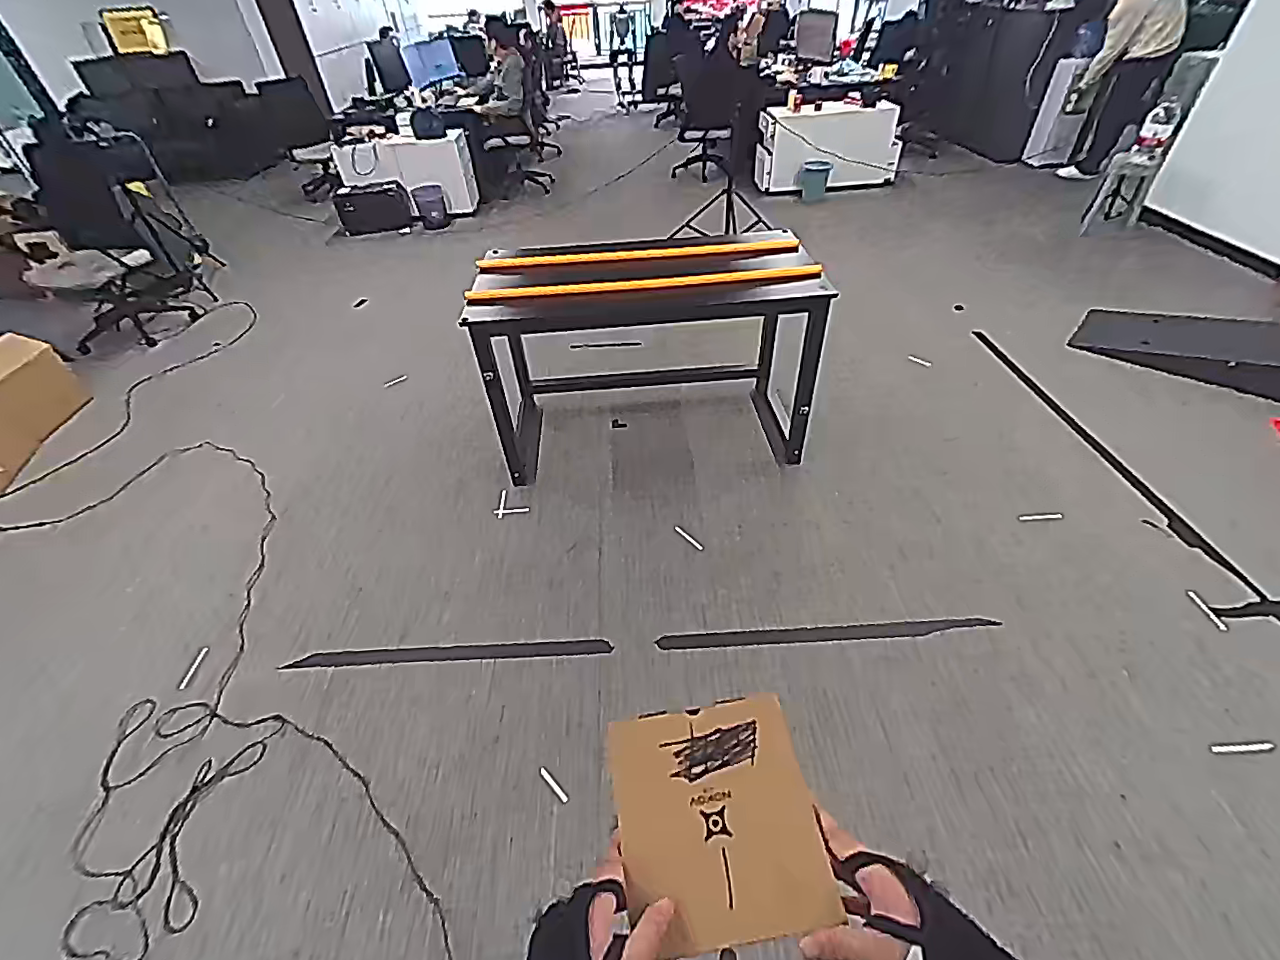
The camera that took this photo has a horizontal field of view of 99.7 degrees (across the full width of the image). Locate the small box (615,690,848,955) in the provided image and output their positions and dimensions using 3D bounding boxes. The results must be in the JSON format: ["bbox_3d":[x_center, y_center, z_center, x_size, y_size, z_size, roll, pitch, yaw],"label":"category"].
[{"bbox_3d":[0.072,0.330,0.522,0.168,0.176,0.179,-10,50,-3],"label":"small box"}]
